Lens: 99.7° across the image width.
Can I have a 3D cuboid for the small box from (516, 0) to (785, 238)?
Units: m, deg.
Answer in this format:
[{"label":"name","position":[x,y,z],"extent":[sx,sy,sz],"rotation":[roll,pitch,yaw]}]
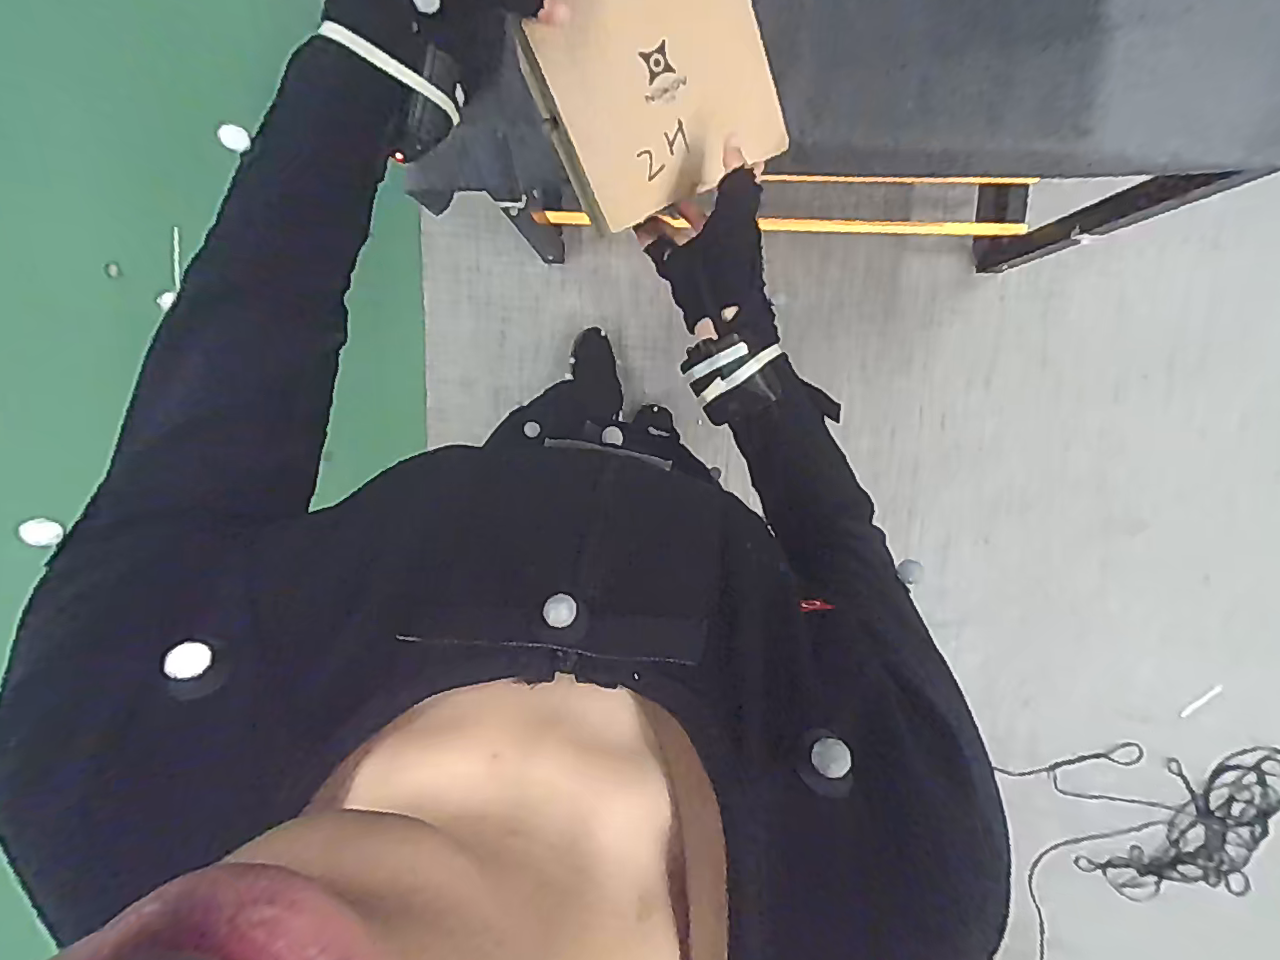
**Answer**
[{"label":"small box","position":[0.003,-0.341,0.495],"extent":[0.168,0.176,0.179],"rotation":[-25,114,3]}]
